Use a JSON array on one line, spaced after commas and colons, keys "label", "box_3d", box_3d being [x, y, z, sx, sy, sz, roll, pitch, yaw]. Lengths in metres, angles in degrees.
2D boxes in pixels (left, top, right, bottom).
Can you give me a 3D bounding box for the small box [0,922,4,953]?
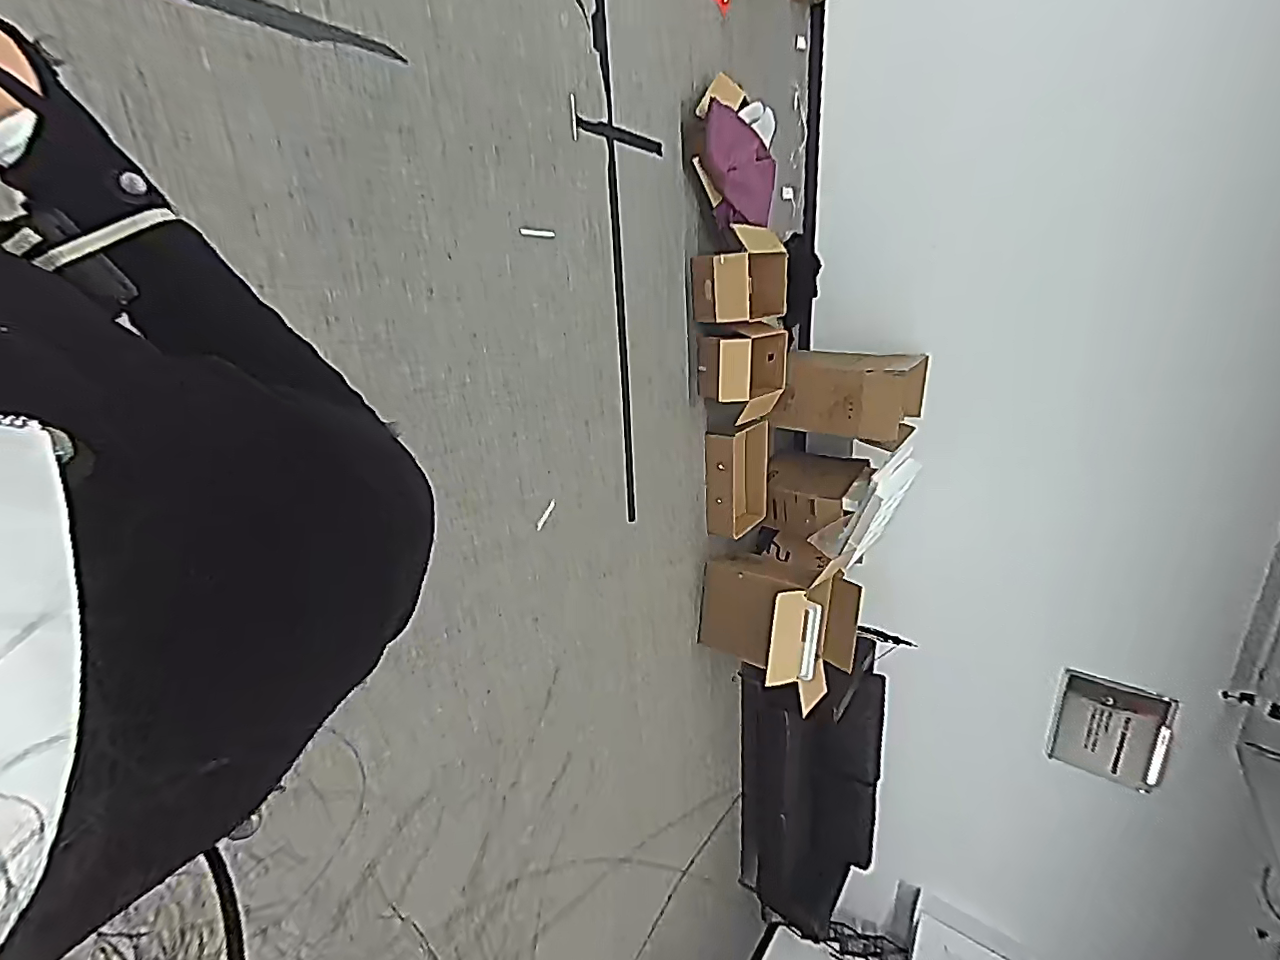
[{"label": "small box", "box_3d": [-1.176, 0.715, 0.859, 0.168, 0.176, 0.179, -27, 120, -47]}]
